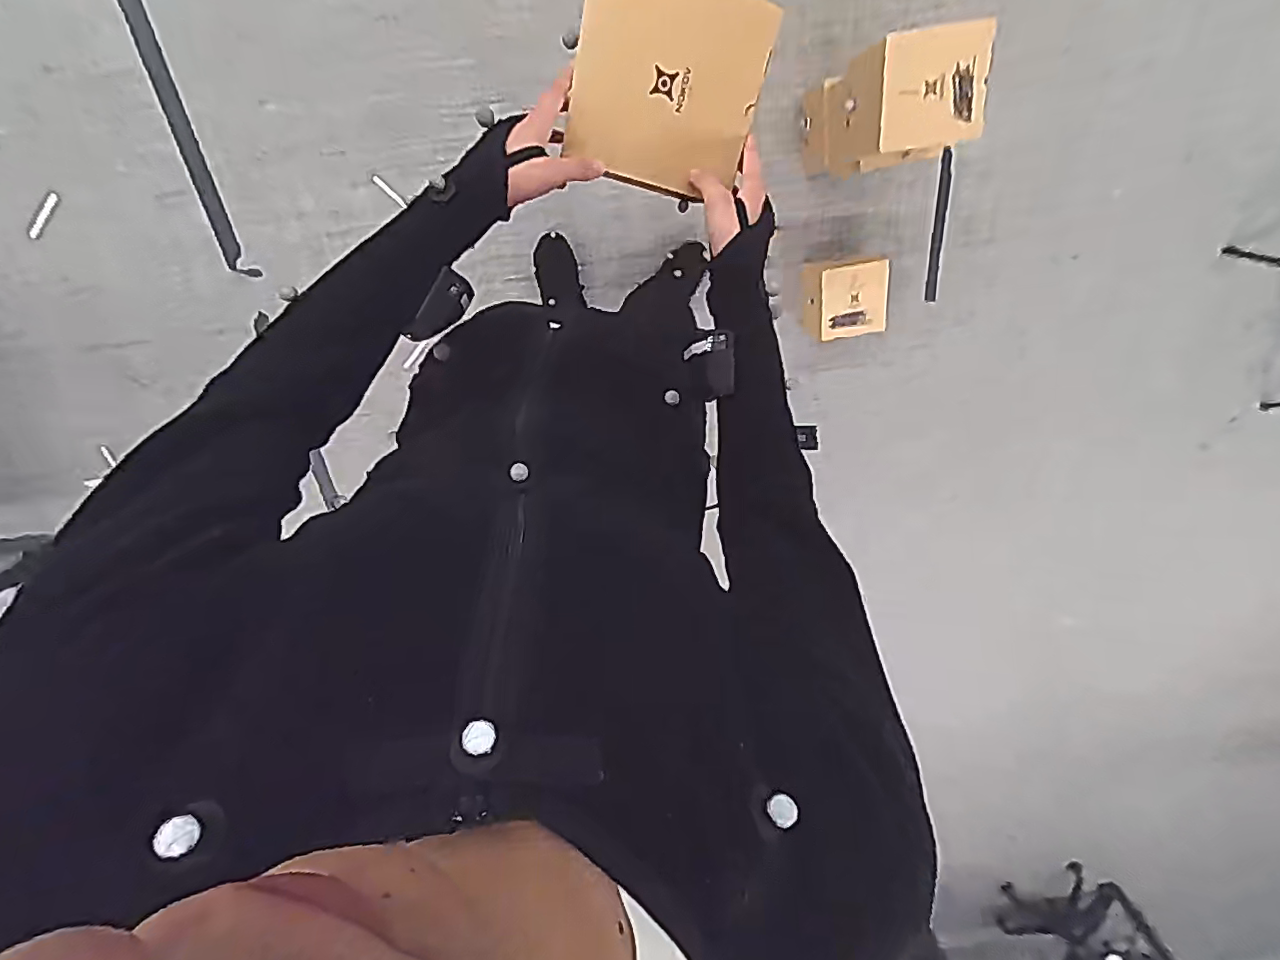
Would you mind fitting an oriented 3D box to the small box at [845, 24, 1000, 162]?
[{"bbox_3d":[0.481,-0.665,0.948,0.179,0.176,0.168,-7,116,2],"label":"small box"}]

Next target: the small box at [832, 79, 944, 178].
[{"bbox_3d":[0.500,-0.731,1.100,0.168,0.176,0.179,-10,117,3],"label":"small box"}]

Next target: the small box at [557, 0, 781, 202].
[{"bbox_3d":[0.012,-0.399,0.561,0.179,0.176,0.168,8,117,-14],"label":"small box"}]

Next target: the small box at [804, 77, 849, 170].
[{"bbox_3d":[0.489,-0.818,1.239,0.179,0.176,0.168,-9,117,3],"label":"small box"}]
